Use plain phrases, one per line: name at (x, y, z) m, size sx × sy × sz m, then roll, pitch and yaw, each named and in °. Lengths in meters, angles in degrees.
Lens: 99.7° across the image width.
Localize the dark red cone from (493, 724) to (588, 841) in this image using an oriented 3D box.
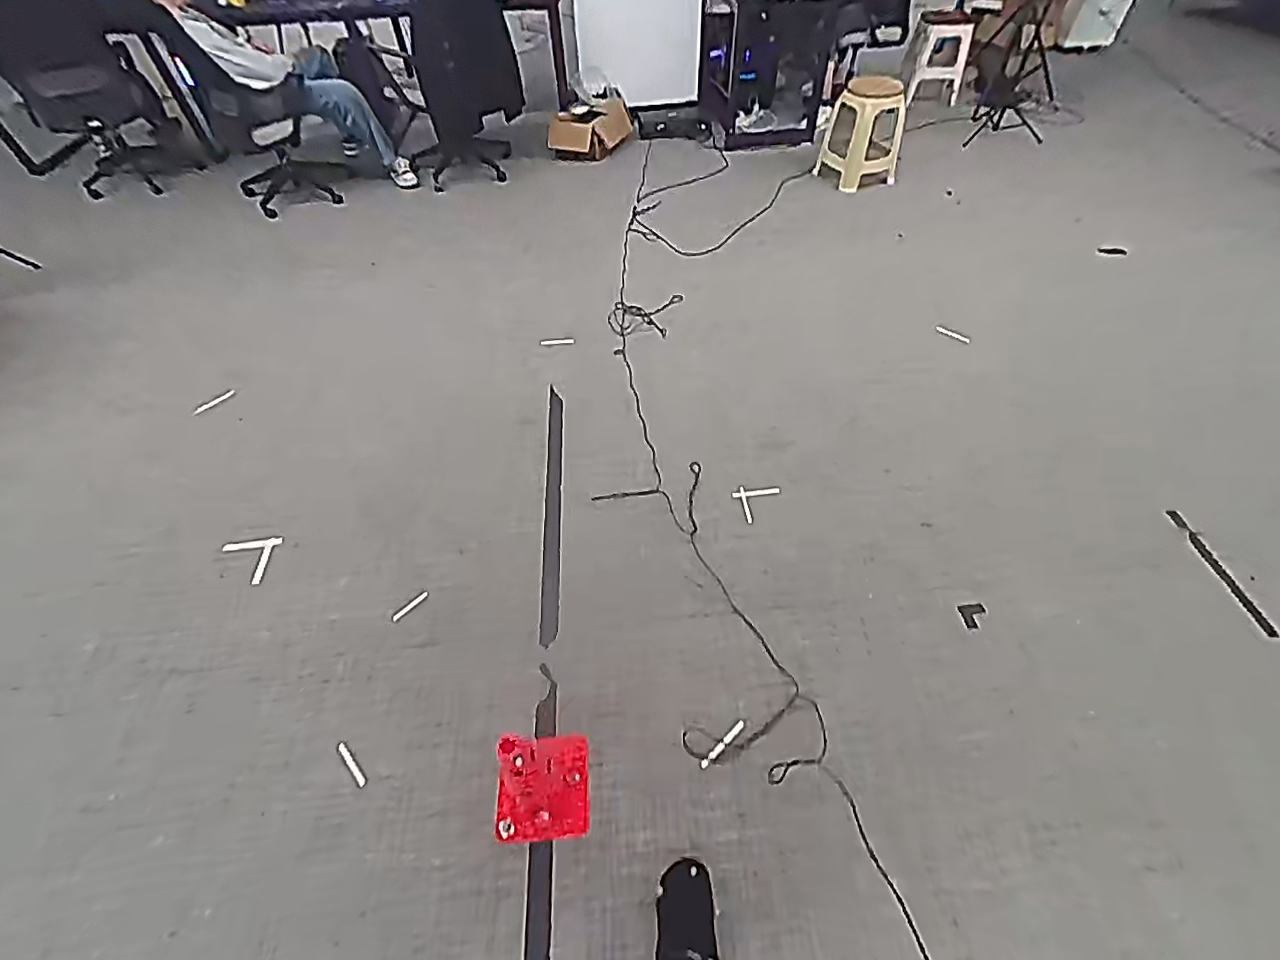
dark red cone at (-0.218, 0.557, 1.050) m, size 0.201 × 0.394 × 0.202 m, roll -5°, pitch 50°, yaw -3°
